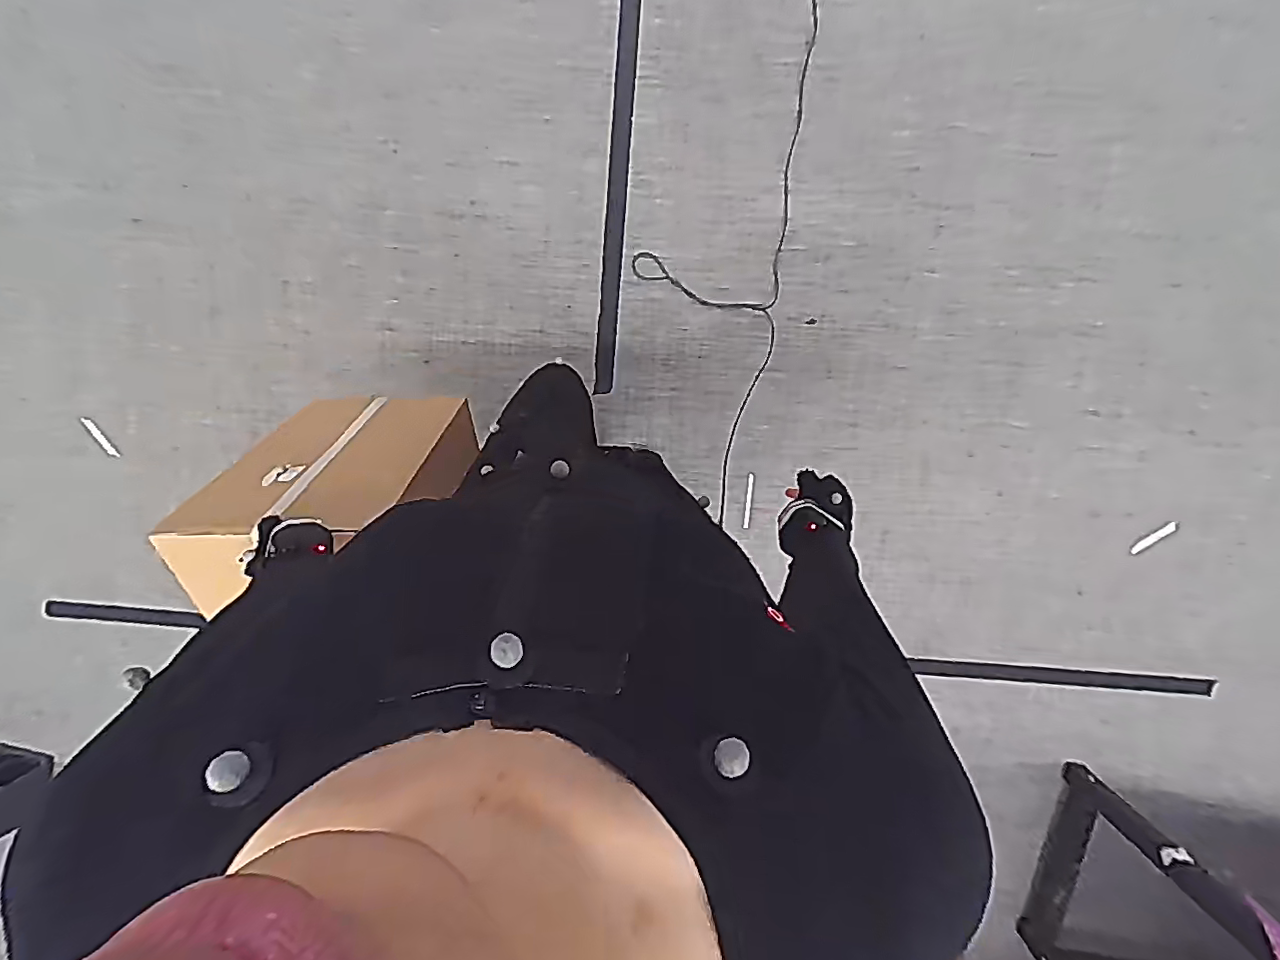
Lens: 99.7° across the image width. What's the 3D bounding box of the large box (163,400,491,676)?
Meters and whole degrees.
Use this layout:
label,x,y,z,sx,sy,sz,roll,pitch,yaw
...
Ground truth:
label,x,y,z,sx,sy,sz,roll,pitch,yaw
large box,-0.485,0.086,0.965,0.320,0.408,0.320,-2,125,3
